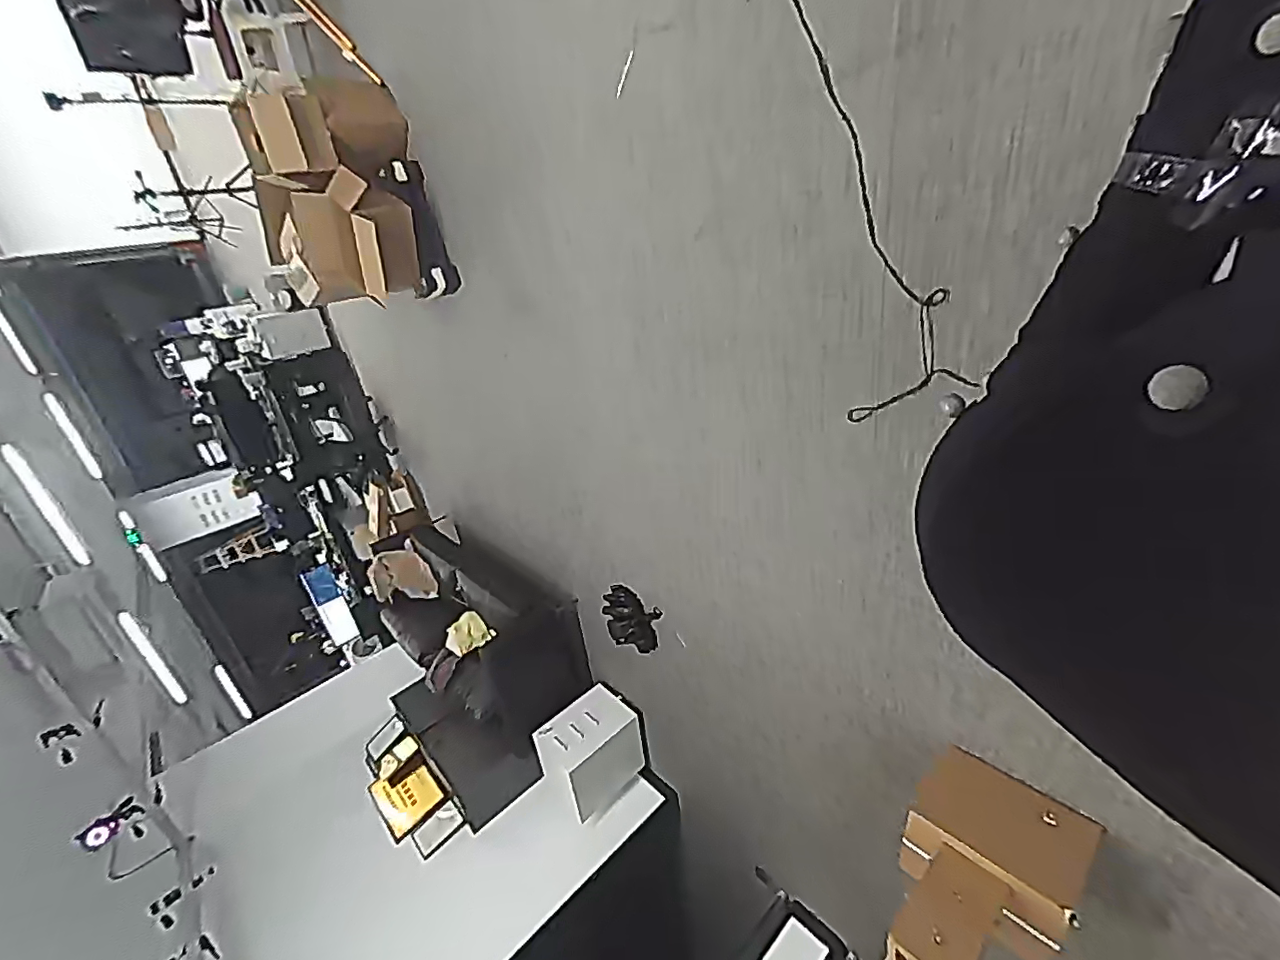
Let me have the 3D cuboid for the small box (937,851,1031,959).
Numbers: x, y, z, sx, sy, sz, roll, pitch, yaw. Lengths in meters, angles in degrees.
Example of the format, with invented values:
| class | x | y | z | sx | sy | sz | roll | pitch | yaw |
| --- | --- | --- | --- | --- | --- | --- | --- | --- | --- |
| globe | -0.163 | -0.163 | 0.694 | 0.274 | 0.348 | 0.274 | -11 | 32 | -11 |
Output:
| class | x | y | z | sx | sy | sz | roll | pitch | yaw |
| --- | --- | --- | --- | --- | --- | --- | --- | --- | --- |
| small box | 0.934 | 1.174 | 1.474 | 0.179 | 0.176 | 0.168 | 20 | 126 | 47 |

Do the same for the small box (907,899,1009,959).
| class | x | y | z | sx | sy | sz | roll | pitch | yaw |
| --- | --- | --- | --- | --- | --- | --- | --- | --- | --- |
| small box | 0.808 | 1.230 | 1.384 | 0.179 | 0.176 | 0.168 | 19 | 126 | 45 |
